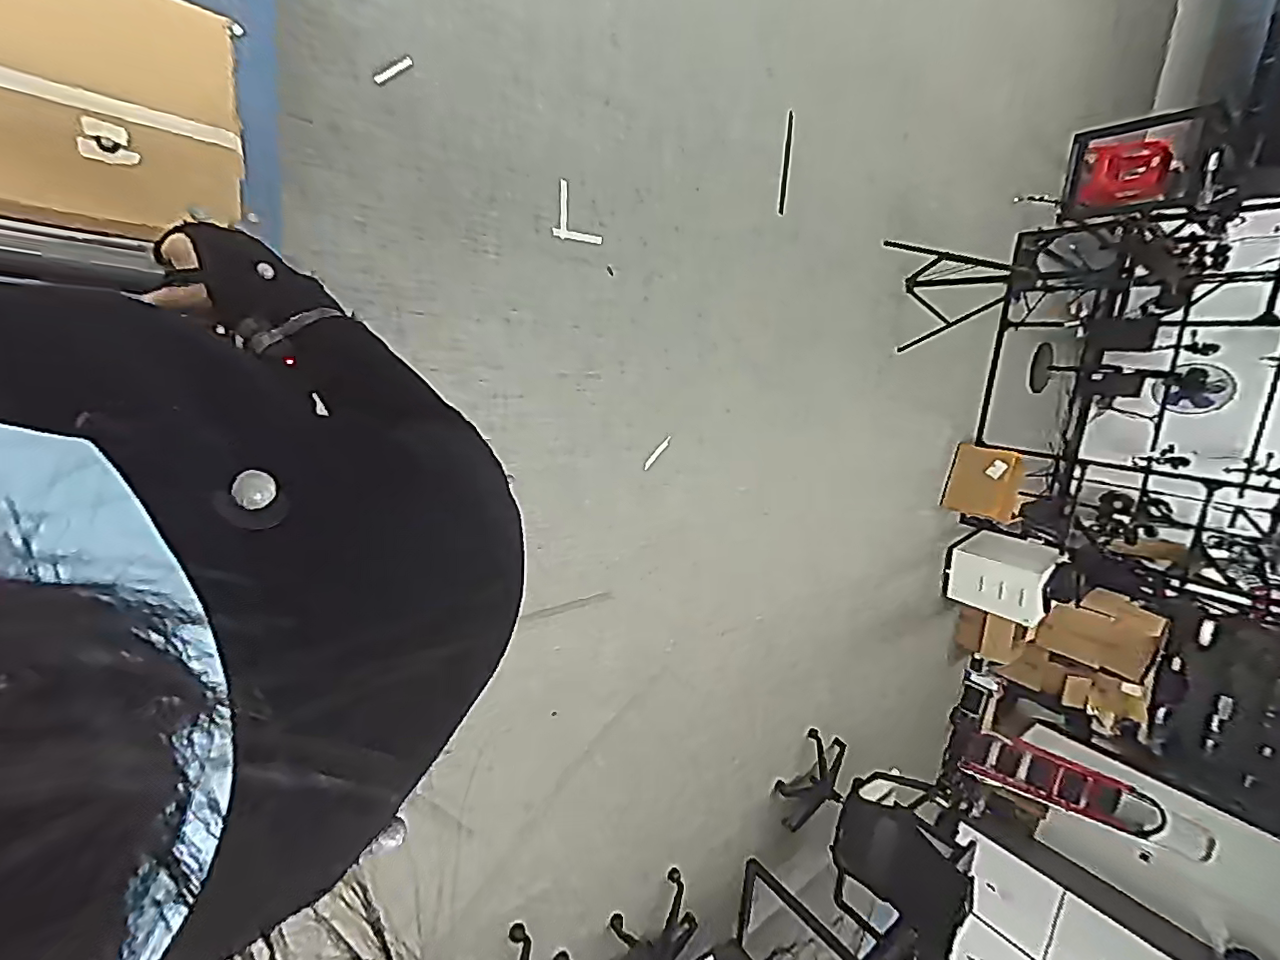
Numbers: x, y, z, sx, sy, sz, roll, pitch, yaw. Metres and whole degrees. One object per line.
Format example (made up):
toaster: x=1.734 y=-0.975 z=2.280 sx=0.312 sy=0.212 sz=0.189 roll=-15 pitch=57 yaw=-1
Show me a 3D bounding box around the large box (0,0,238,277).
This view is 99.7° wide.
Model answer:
large box: x=-0.829 y=-0.488 z=0.753 sx=0.408 sy=0.320 sz=0.320 roll=-4 pitch=105 yaw=-40
